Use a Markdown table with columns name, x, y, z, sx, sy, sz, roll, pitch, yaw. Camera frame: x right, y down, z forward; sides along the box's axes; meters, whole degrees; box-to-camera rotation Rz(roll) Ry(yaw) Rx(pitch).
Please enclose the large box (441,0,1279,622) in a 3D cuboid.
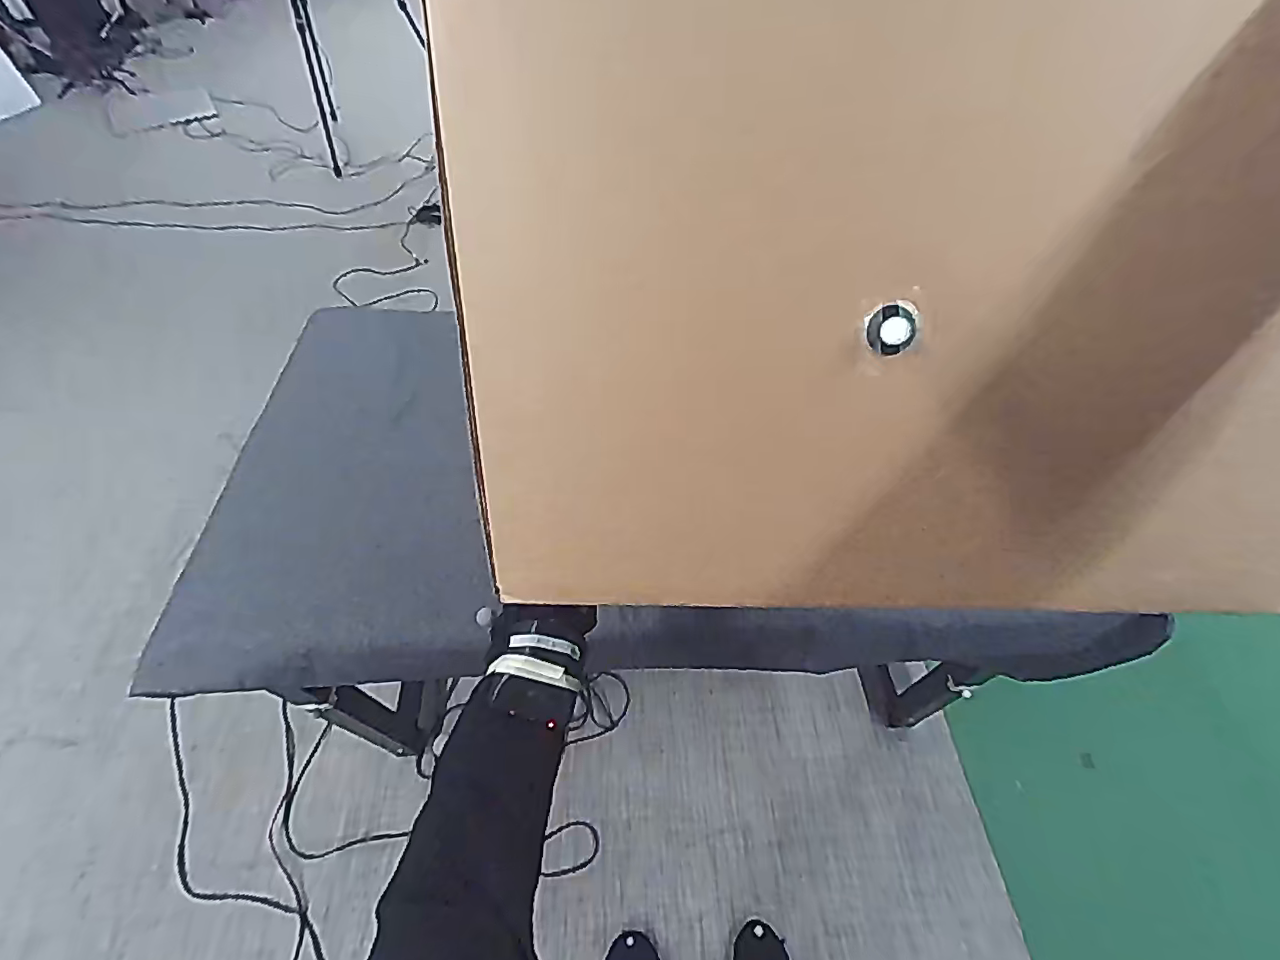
| name | x | y | z | sx | sy | sz | roll | pitch | yaw |
| --- | --- | --- | --- | --- | --- | --- | --- | --- | --- |
| large box | 0.130 | -0.109 | 0.404 | 0.408 | 0.320 | 0.320 | -2 | 14 | 6 |
